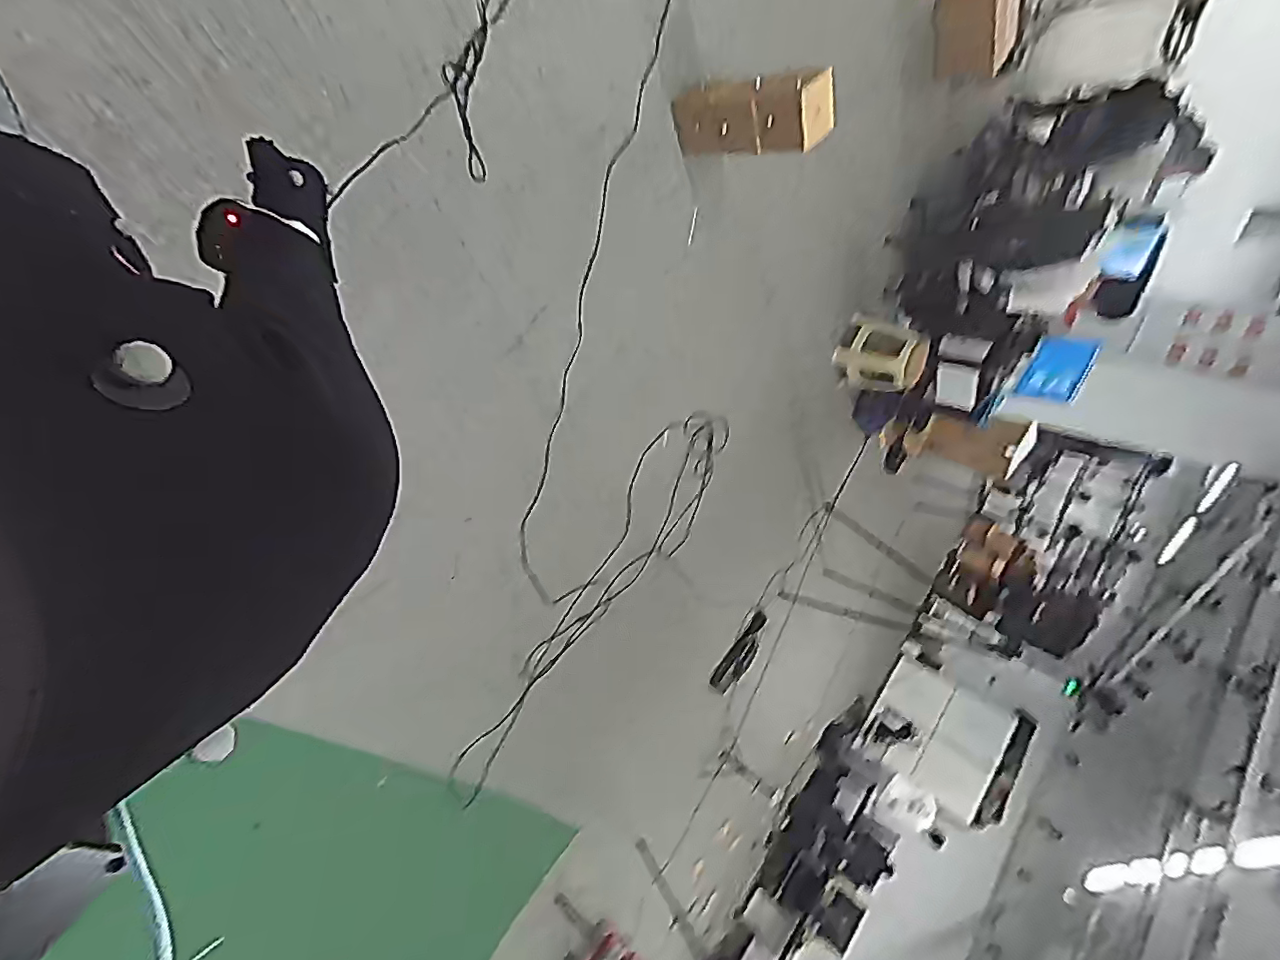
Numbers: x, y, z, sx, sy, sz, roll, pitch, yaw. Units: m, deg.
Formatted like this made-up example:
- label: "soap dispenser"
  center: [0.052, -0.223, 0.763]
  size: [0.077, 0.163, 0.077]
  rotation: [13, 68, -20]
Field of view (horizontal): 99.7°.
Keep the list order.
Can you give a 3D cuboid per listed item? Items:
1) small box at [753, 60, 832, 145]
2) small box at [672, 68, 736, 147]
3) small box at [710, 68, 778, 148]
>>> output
- label: "small box"
  center: [0.478, -1.178, 1.690]
  size: [0.179, 0.176, 0.168]
  rotation: [-48, 140, -19]
- label: "small box"
  center: [0.236, -1.289, 1.881]
  size: [0.168, 0.176, 0.179]
  rotation: [-49, 140, -19]
- label: "small box"
  center: [0.356, -1.227, 1.786]
  size: [0.179, 0.176, 0.168]
  rotation: [-48, 140, -19]
